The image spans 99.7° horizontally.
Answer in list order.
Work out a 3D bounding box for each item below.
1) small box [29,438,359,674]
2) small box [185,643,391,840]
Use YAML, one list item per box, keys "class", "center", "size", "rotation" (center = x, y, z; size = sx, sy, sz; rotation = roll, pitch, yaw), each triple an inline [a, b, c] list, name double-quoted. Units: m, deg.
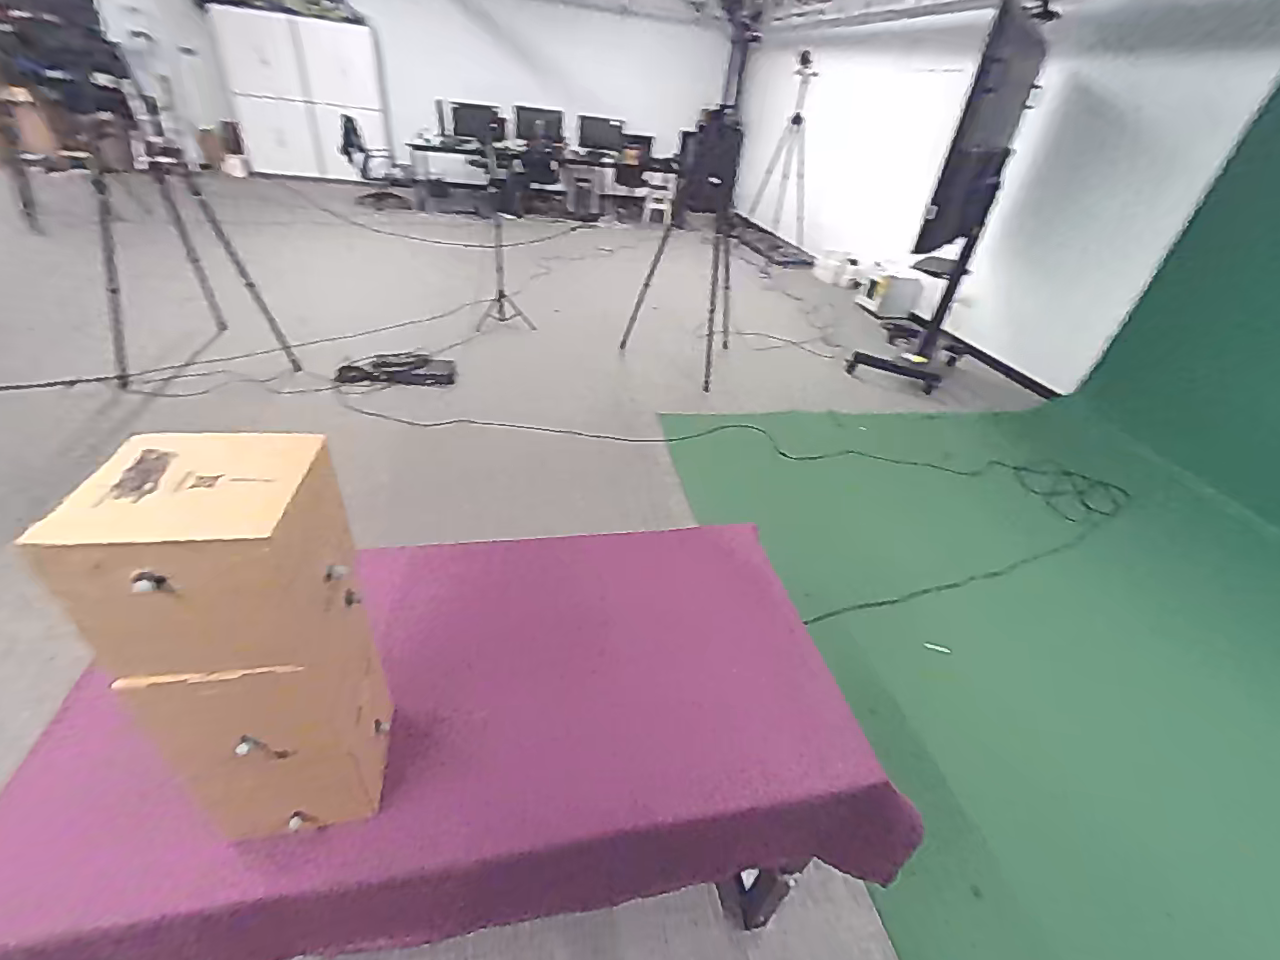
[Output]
- class: "small box"
  center: [-0.404, 0.072, 0.536]
  size: [0.179, 0.176, 0.168]
  rotation: [0, 36, -12]
- class: "small box"
  center: [-0.442, 0.343, 0.720]
  size: [0.179, 0.176, 0.168]
  rotation: [-2, 36, -15]
